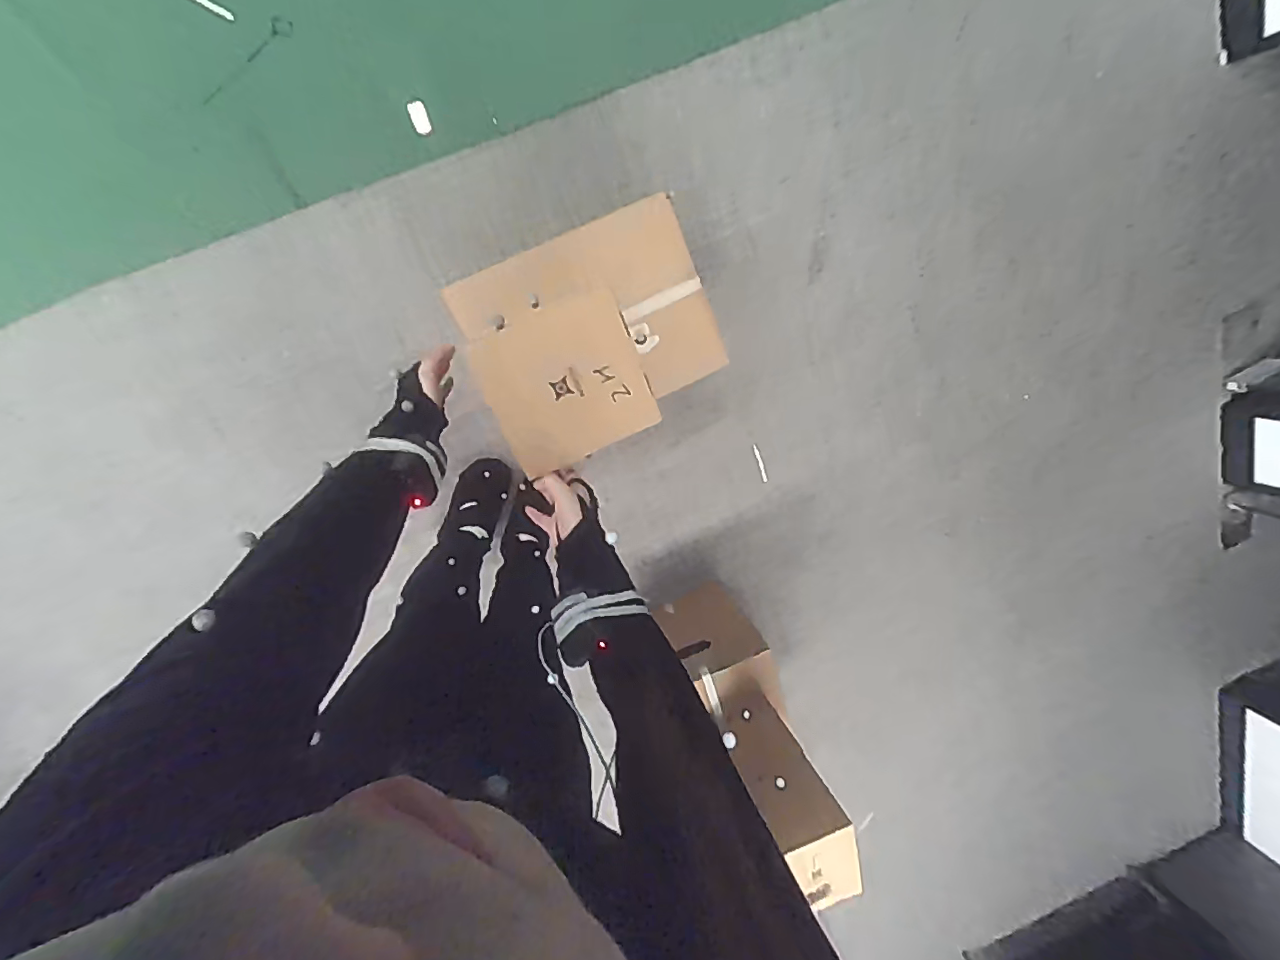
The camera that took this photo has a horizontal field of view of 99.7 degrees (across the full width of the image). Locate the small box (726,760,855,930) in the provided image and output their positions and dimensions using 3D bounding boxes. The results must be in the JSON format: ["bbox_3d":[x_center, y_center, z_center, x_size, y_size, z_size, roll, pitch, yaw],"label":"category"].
[{"bbox_3d":[0.275,0.669,1.009,0.168,0.176,0.179,-16,109,-10],"label":"small box"}]

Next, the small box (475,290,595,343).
[{"bbox_3d":[-0.133,-0.178,0.834,0.179,0.176,0.168,-24,110,-6],"label":"small box"}]

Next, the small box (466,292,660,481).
[{"bbox_3d":[-0.097,-0.123,0.682,0.179,0.176,0.168,-24,111,-5],"label":"small box"}]

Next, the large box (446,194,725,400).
[{"bbox_3d":[-0.109,-0.294,1.065,0.408,0.320,0.320,-26,110,-5],"label":"large box"}]
